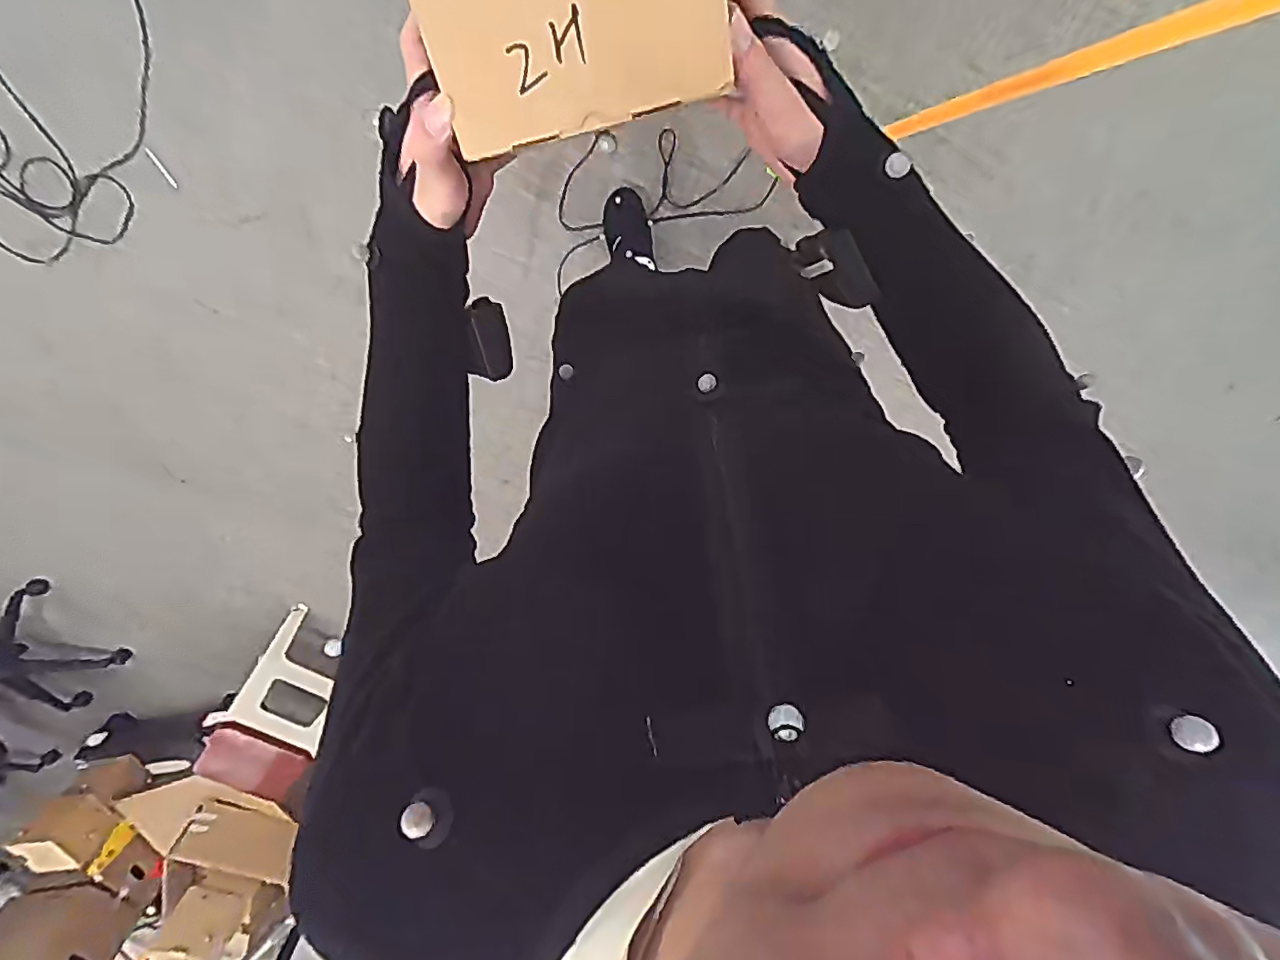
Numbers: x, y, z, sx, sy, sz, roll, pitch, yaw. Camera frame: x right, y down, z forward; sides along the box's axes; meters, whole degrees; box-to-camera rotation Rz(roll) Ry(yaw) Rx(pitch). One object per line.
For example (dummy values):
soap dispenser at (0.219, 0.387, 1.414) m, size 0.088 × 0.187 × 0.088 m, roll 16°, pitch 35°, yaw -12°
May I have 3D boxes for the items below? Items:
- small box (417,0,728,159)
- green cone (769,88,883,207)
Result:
small box at (-0.043, -0.324, 0.348) m, size 0.168 × 0.176 × 0.179 m, roll -9°, pitch 123°, yaw 7°
green cone at (0.441, -0.725, 1.162) m, size 0.202 × 0.368 × 0.200 m, roll 24°, pitch 115°, yaw -12°
